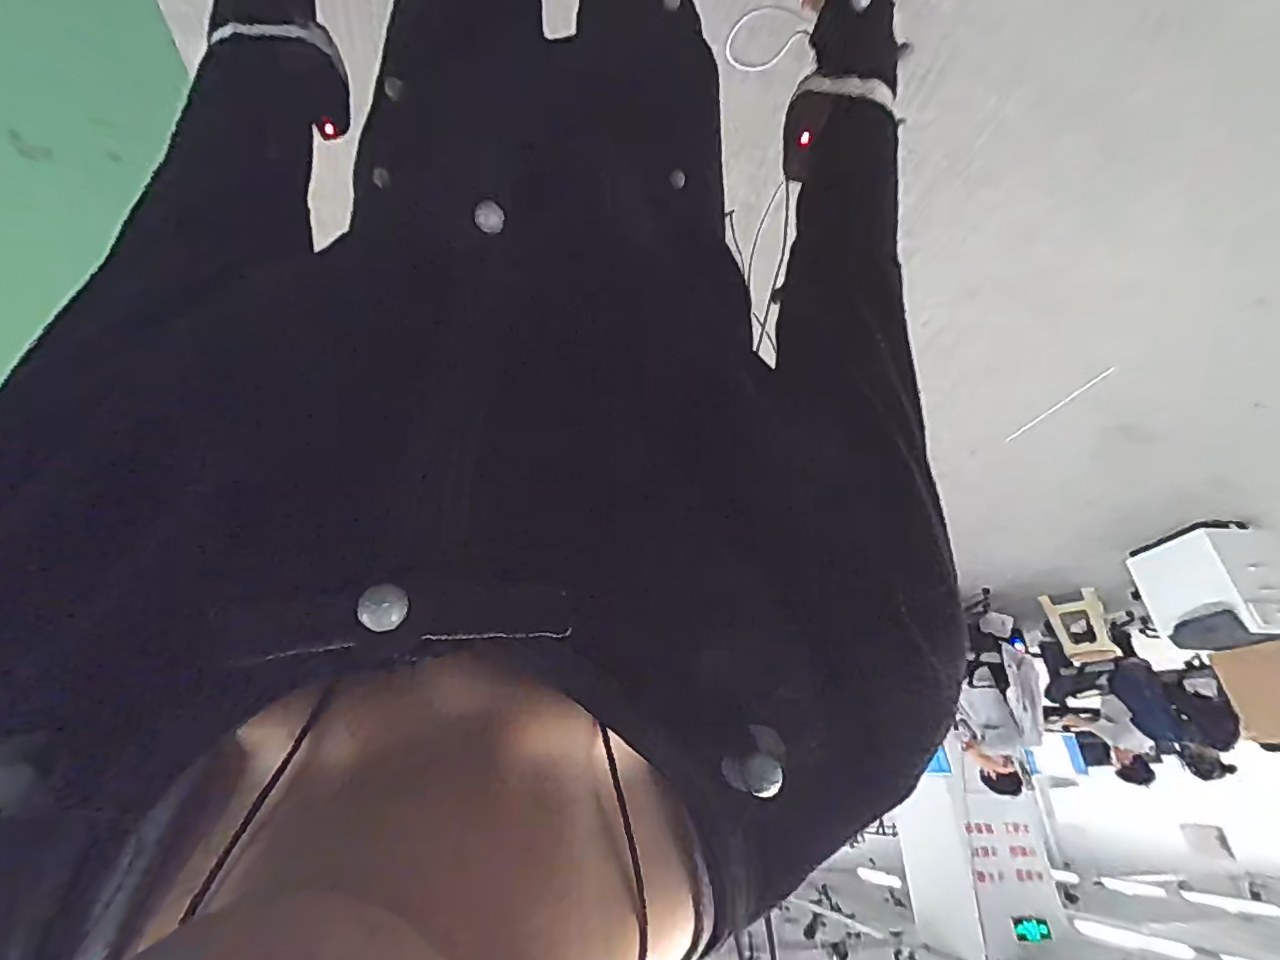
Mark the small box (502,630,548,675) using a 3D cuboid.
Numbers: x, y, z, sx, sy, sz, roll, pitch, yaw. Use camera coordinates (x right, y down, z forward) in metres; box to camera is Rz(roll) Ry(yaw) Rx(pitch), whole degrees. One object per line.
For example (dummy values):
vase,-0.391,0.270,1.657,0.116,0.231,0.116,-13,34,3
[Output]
small box,-0.483,0.736,2.279,0.179,0.176,0.168,6,150,-10
